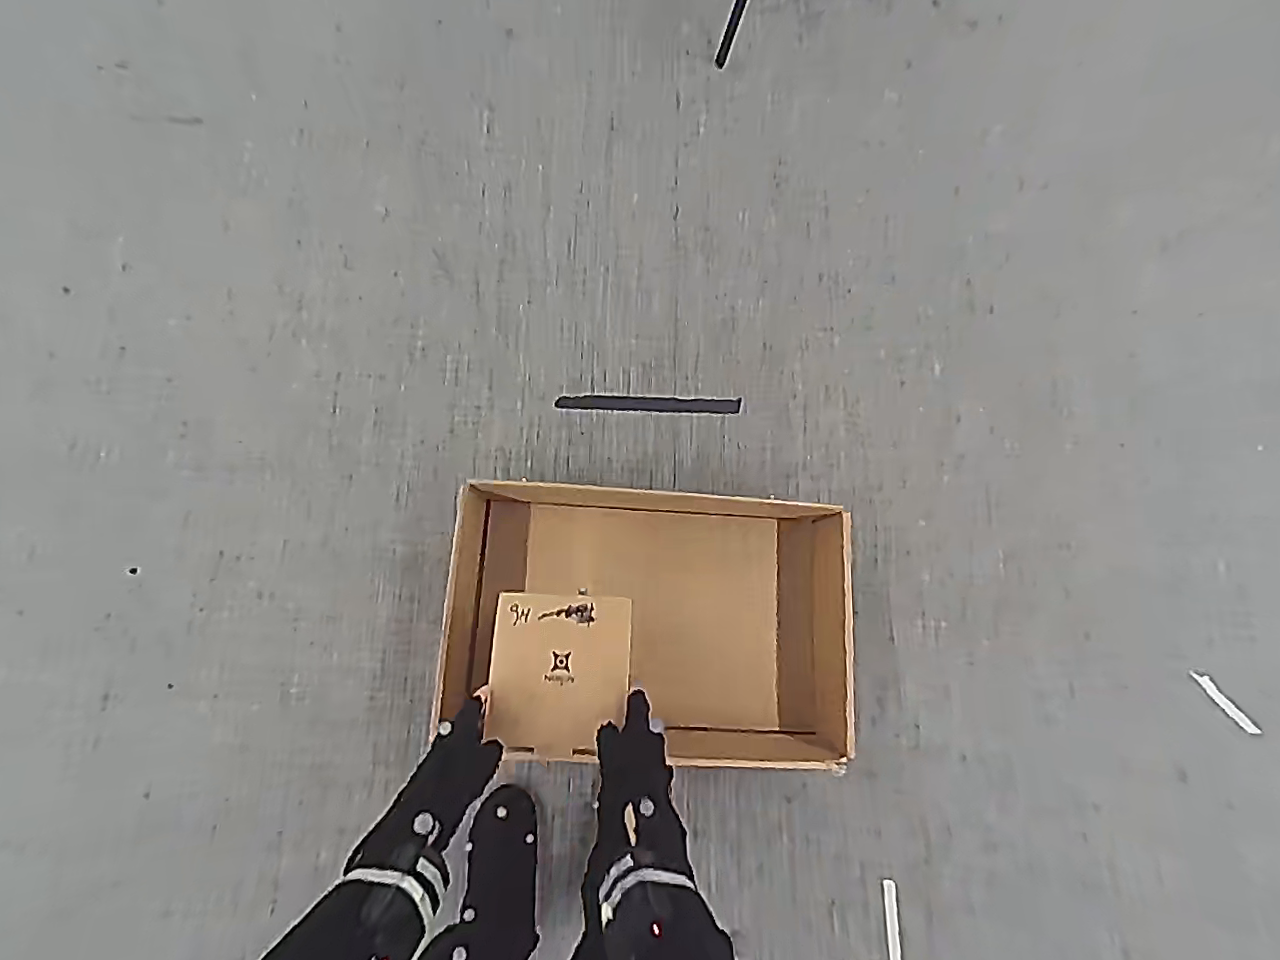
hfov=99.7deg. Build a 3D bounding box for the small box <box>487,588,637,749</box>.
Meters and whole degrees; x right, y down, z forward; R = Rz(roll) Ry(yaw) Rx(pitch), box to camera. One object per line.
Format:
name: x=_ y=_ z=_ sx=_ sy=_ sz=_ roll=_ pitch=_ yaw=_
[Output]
small box: x=-0.089 y=0.239 z=0.709 sx=0.168 sy=0.176 sz=0.179 roll=1 pitch=73 yaw=0
